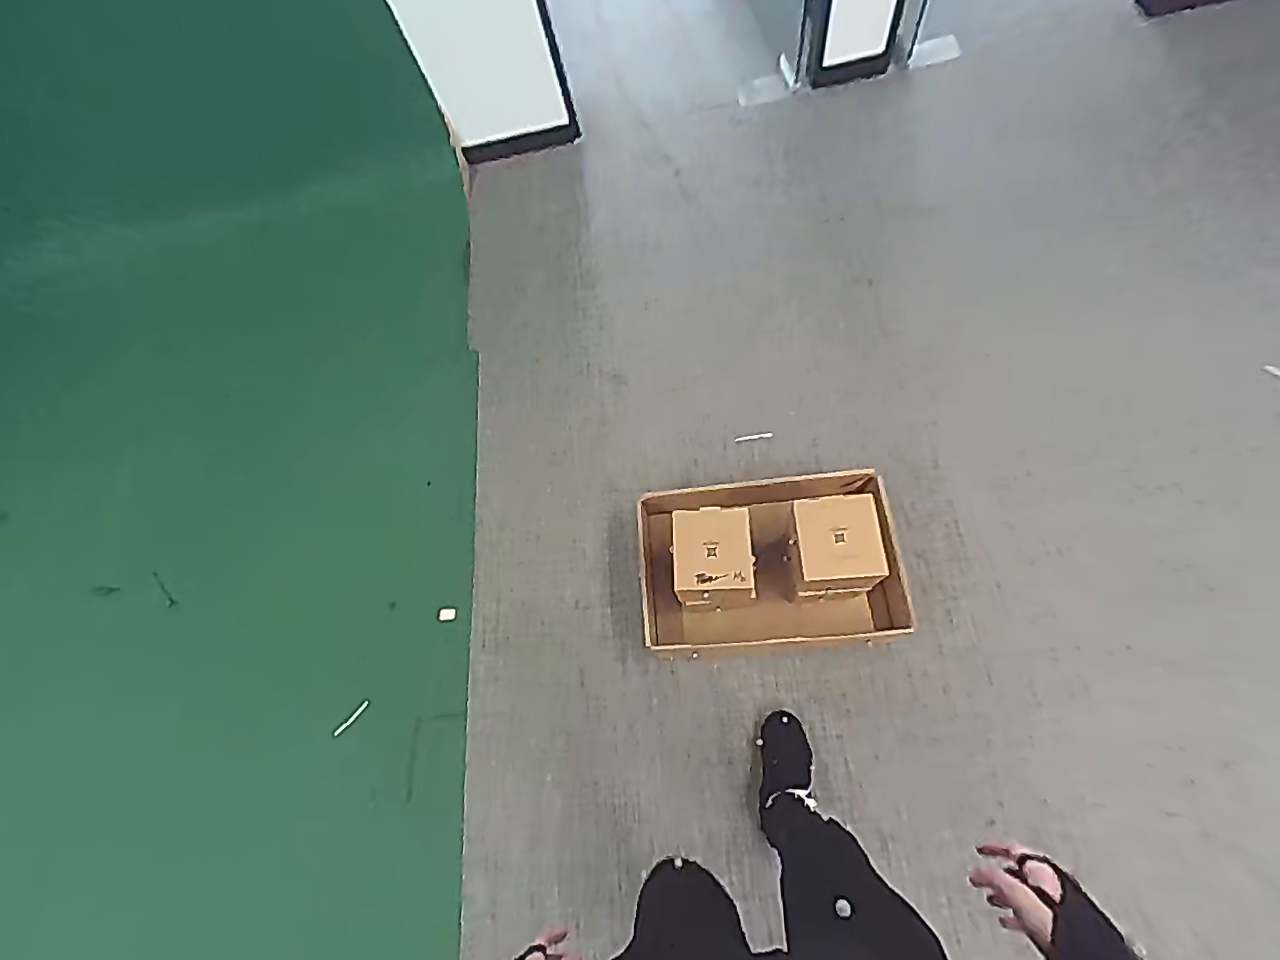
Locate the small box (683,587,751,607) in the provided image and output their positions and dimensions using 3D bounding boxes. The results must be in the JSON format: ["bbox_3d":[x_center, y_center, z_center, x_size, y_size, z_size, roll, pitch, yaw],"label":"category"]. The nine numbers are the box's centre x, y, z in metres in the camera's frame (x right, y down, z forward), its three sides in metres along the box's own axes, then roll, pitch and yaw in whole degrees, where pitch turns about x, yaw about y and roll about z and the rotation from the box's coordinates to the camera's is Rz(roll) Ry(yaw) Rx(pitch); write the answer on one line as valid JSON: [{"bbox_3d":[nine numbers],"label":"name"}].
[{"bbox_3d":[0.187,0.226,1.379,0.168,0.176,0.179,-7,69,4],"label":"small box"}]

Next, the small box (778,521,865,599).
[{"bbox_3d":[0.446,0.198,1.352,0.168,0.176,0.179,-7,69,7],"label":"small box"}]

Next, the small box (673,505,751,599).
[{"bbox_3d":[0.160,0.167,1.227,0.168,0.176,0.179,-3,68,8],"label":"small box"}]

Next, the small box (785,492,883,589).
[{"bbox_3d":[0.420,0.139,1.203,0.168,0.176,0.179,-5,69,8],"label":"small box"}]
